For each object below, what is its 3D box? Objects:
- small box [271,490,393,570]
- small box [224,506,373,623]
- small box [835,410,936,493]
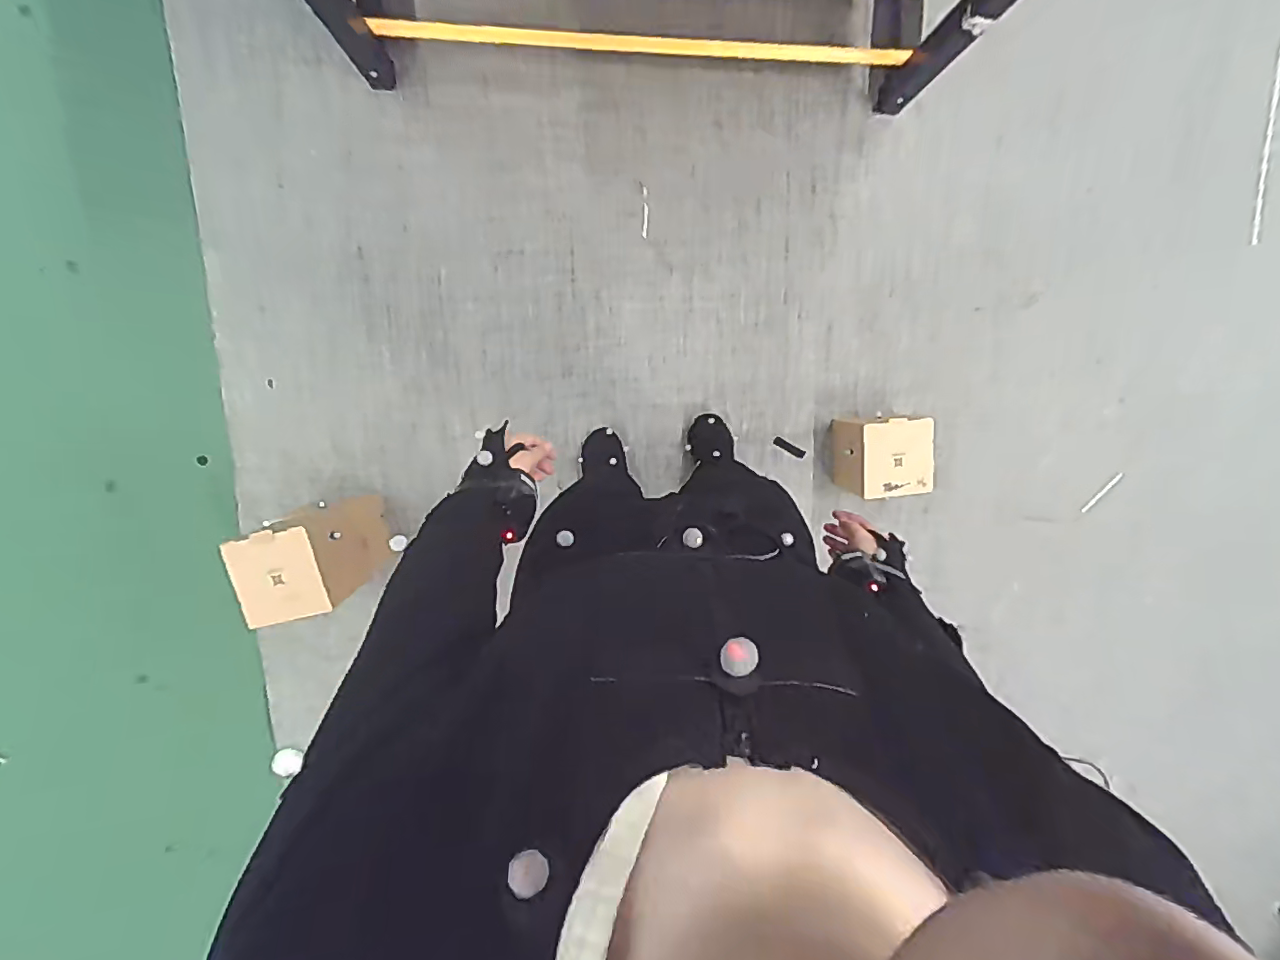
[{"bbox_3d":[-0.695,0.127,1.250,0.179,0.176,0.168,-11,100,-1],"label":"small box"},{"bbox_3d":[-0.676,0.160,1.092,0.168,0.176,0.179,-13,101,0],"label":"small box"},{"bbox_3d":[0.581,-0.074,1.297,0.168,0.176,0.179,-6,99,-3],"label":"small box"}]
